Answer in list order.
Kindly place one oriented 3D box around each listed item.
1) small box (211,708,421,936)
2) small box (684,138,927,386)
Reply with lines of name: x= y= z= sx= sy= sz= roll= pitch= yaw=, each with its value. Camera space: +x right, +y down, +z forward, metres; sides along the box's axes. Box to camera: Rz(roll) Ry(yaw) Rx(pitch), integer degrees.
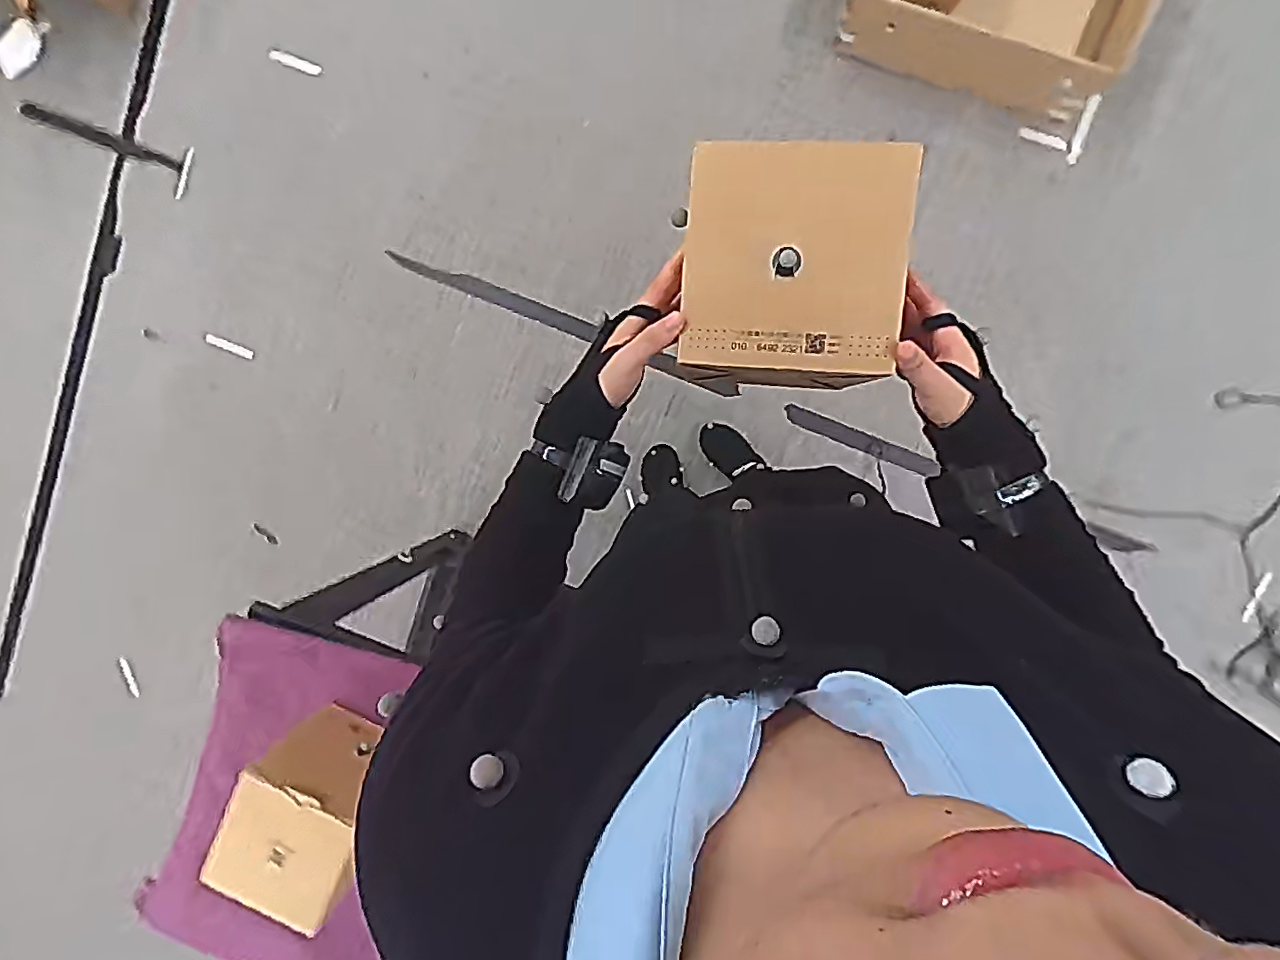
small box: x=-0.441 y=0.467 z=0.763 sx=0.168 sy=0.176 sz=0.179 roll=25 pitch=98 yaw=2
small box: x=0.132 y=-0.175 z=0.484 sx=0.168 sy=0.179 sz=0.176 roll=6 pitch=97 yaw=8
